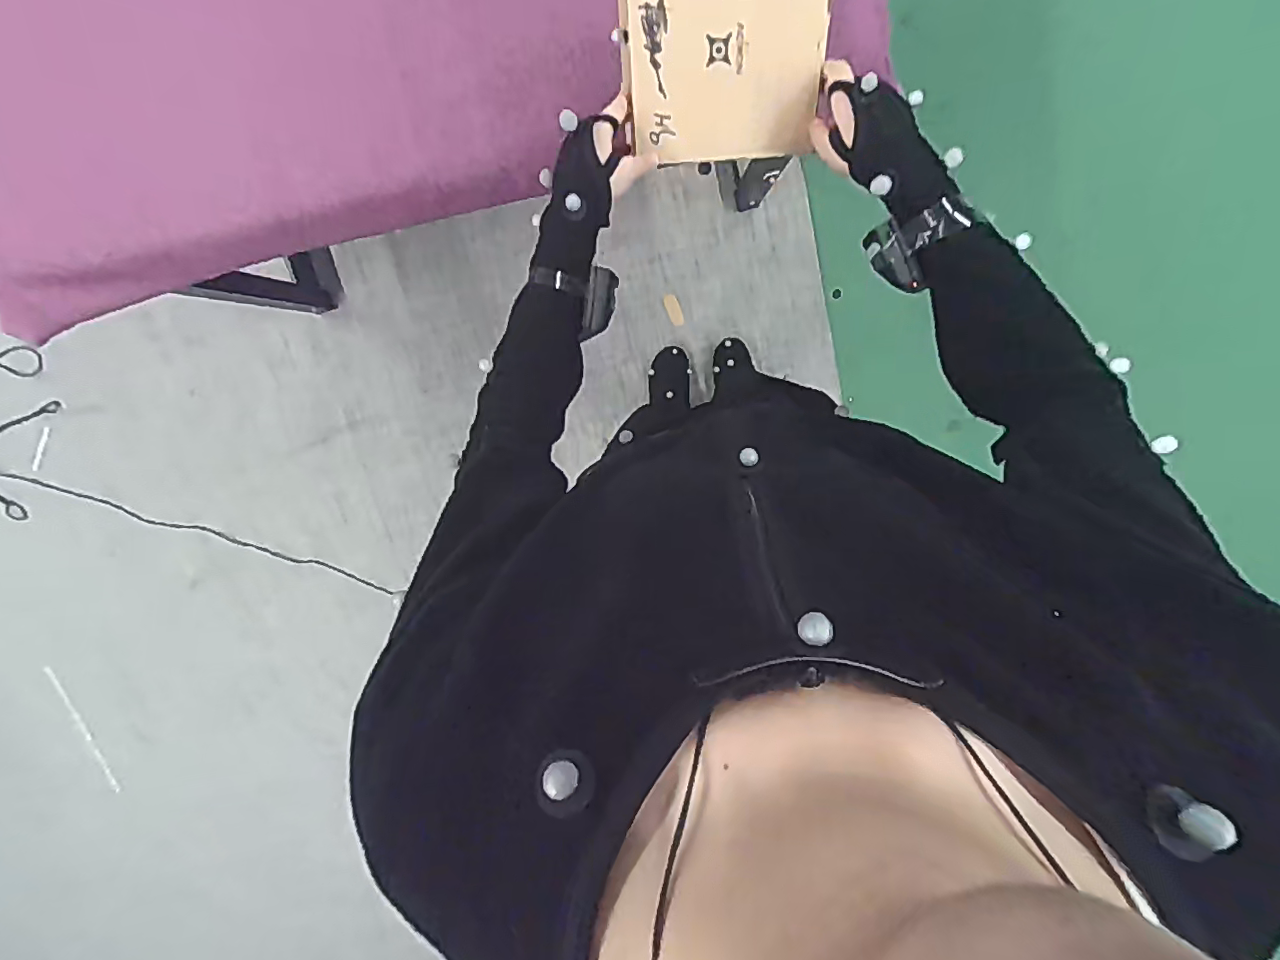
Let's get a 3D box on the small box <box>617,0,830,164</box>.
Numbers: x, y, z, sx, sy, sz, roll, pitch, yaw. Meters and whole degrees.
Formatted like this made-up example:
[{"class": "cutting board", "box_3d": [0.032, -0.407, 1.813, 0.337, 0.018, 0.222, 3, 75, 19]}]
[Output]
[{"class": "small box", "box_3d": [0.072, -0.416, 0.539, 0.179, 0.176, 0.168, -5, 120, -1]}]
